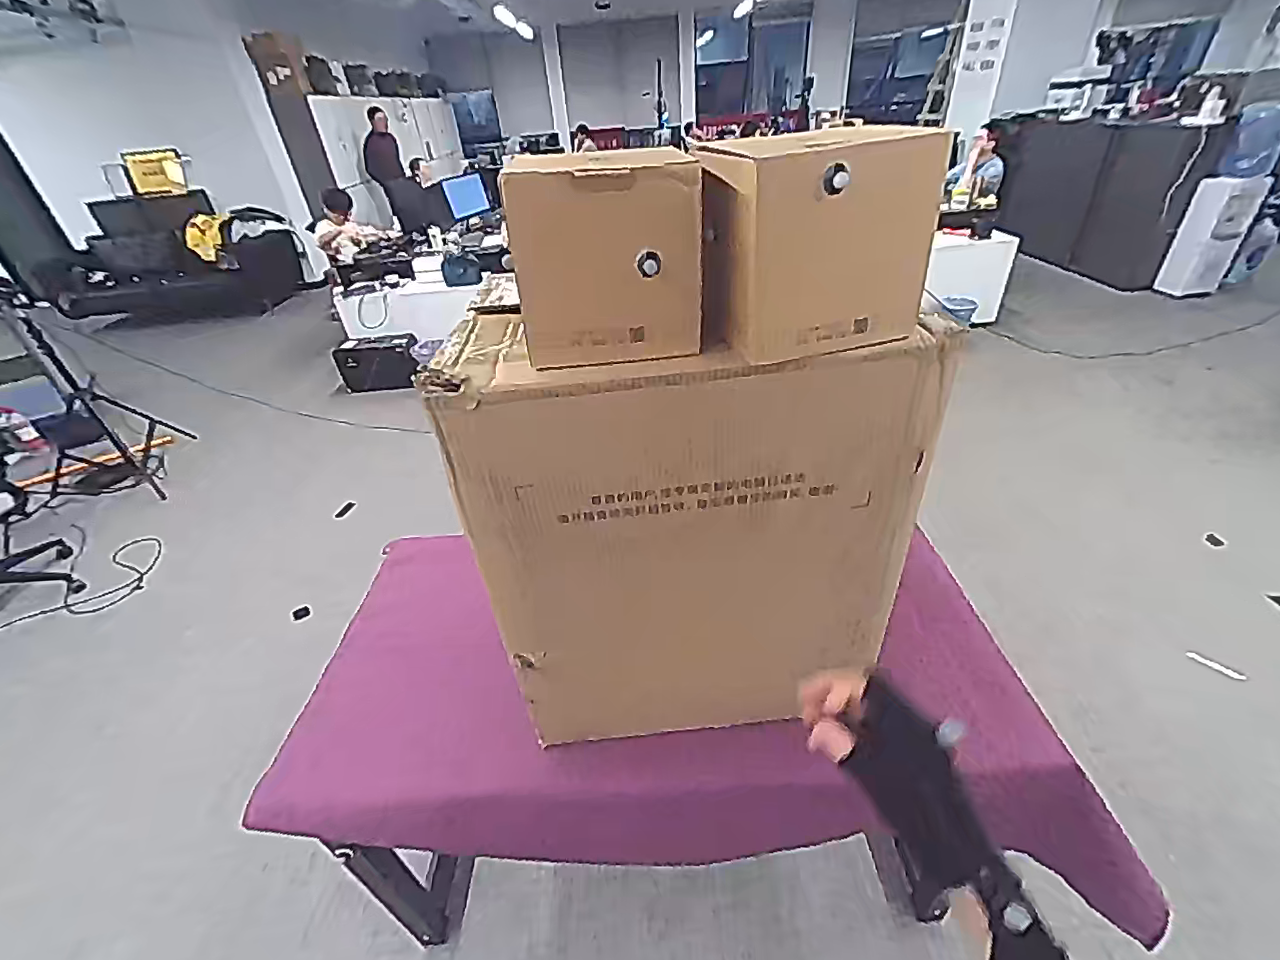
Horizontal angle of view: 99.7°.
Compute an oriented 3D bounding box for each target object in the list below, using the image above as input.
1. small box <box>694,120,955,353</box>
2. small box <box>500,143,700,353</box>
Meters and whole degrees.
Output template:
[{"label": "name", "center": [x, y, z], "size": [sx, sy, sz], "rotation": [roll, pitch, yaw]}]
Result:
[{"label": "small box", "center": [0.155, -0.237, 0.521], "size": [0.168, 0.176, 0.179], "rotation": [-12, 34, -7]}, {"label": "small box", "center": [-0.034, -0.232, 0.544], "size": [0.168, 0.176, 0.179], "rotation": [-5, 33, -4]}]
